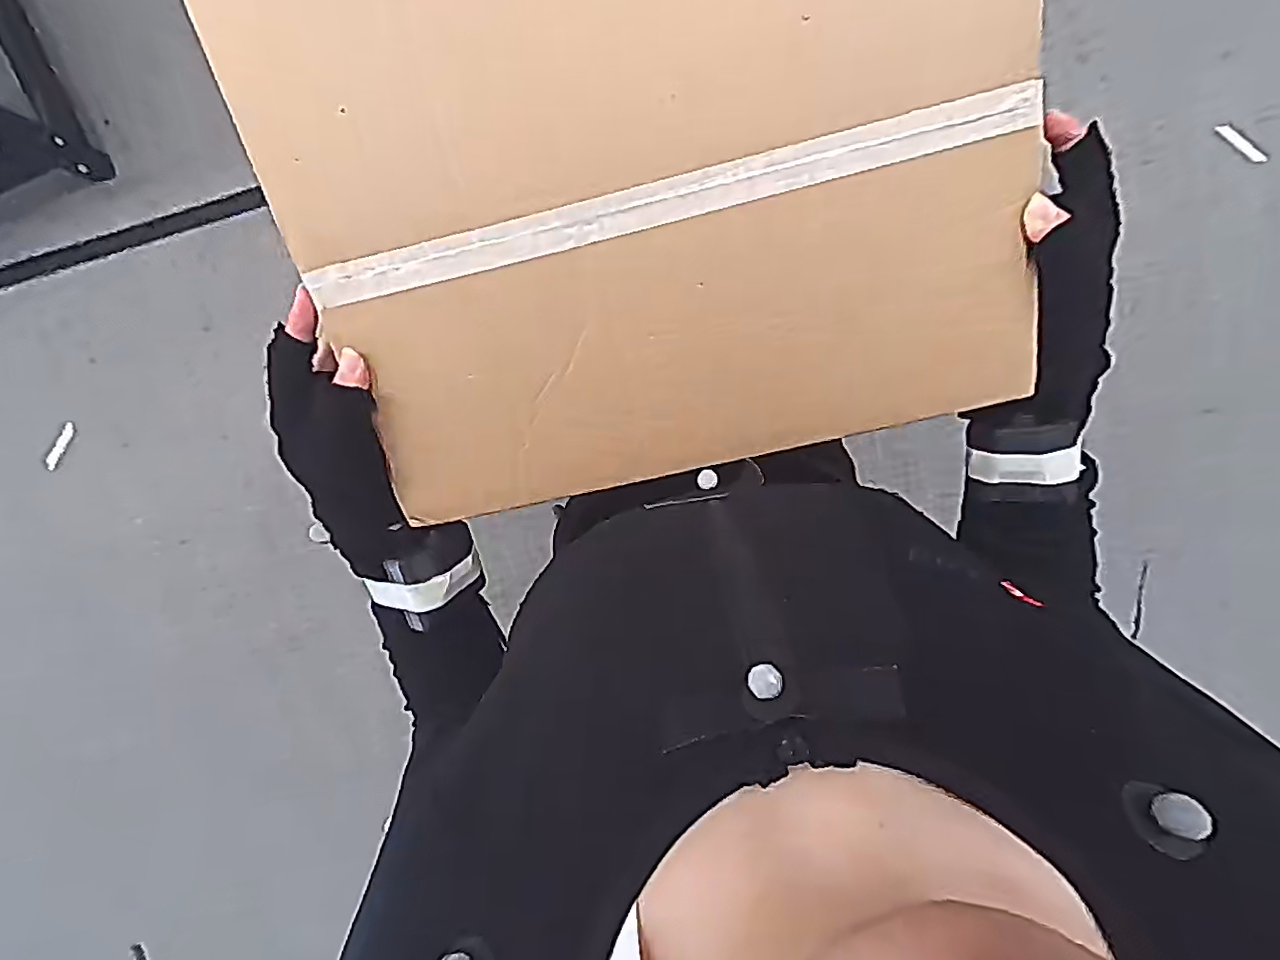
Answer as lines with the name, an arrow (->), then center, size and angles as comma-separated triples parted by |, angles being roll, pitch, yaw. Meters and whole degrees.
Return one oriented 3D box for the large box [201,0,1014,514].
large box -> 0.005, -0.211, 0.443 | 0.408, 0.320, 0.320 | -12, 110, 4
